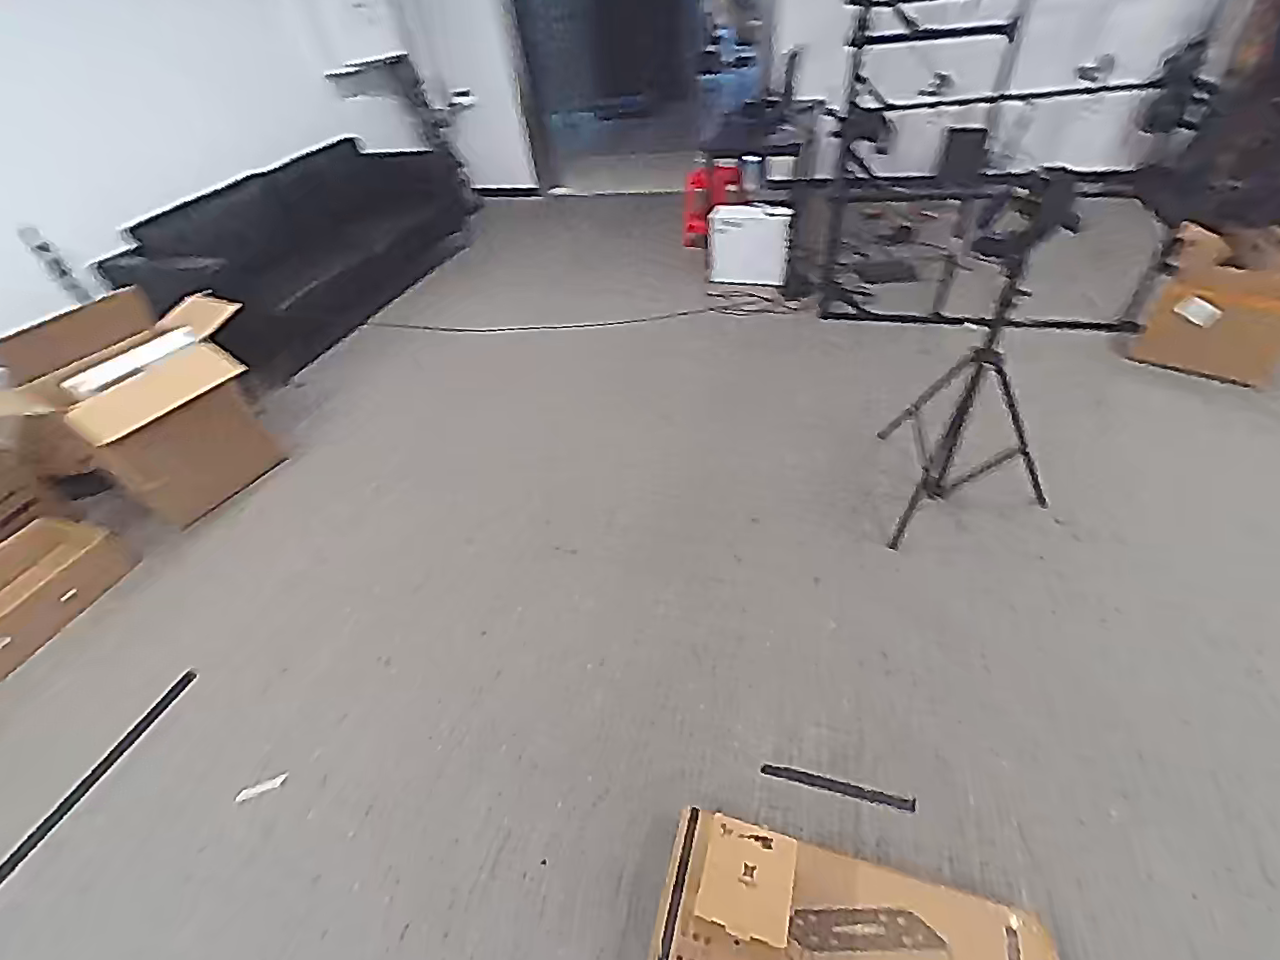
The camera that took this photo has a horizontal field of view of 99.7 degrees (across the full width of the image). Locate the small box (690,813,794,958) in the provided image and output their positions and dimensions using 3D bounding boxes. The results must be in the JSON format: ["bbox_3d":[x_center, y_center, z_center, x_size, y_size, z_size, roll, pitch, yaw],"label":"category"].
[{"bbox_3d":[0.203,0.799,1.063,0.168,0.176,0.179,10,46,17],"label":"small box"}]
